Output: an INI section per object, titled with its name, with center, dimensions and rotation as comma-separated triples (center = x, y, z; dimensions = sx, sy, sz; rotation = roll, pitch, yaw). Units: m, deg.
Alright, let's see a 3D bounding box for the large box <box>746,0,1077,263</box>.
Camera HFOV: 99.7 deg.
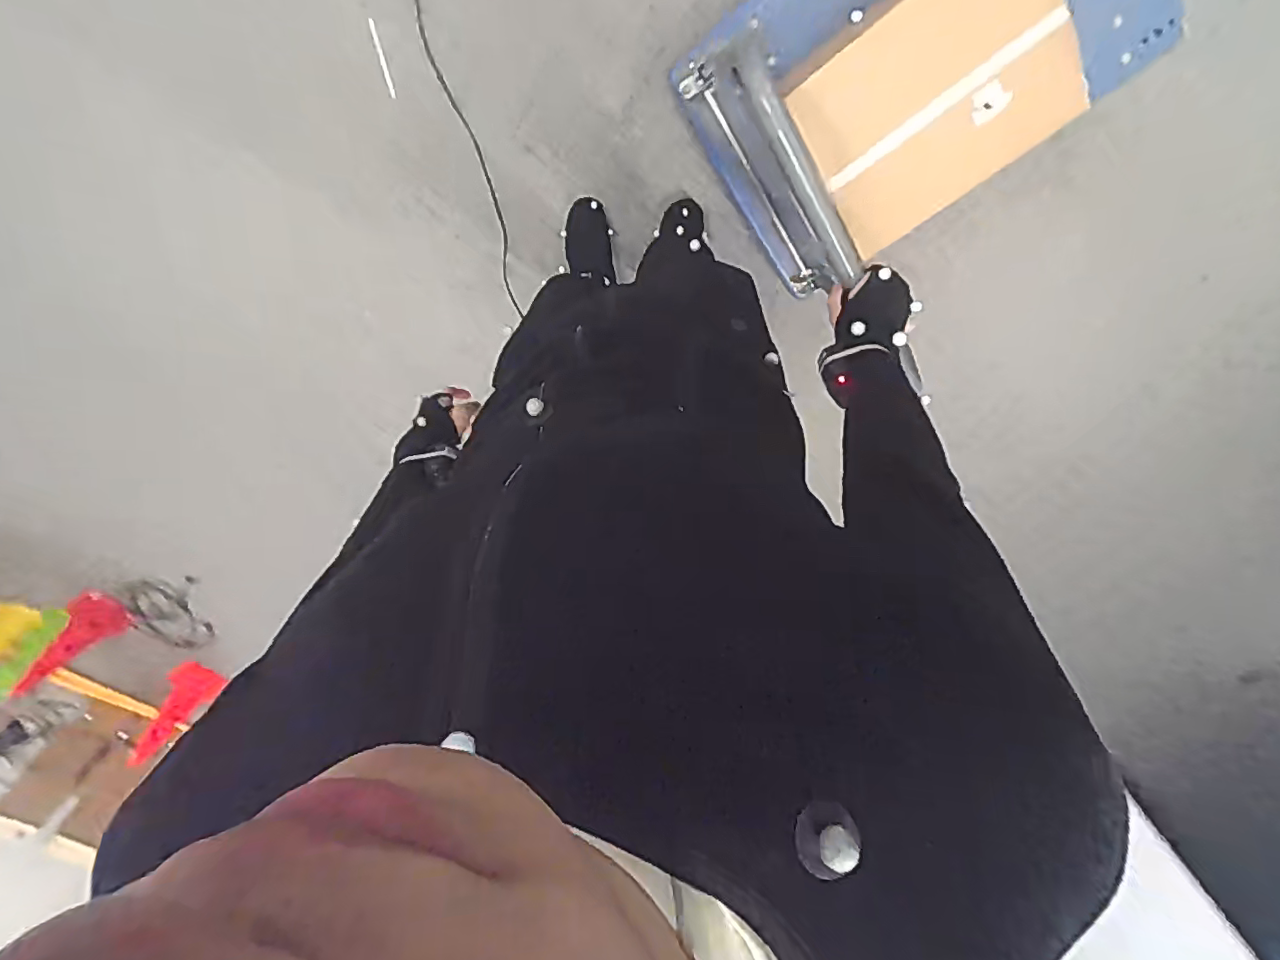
[large box]
center = 0.469, -0.682, 1.011
dimensions = 0.408, 0.320, 0.320
rotation = -33, 118, 17
